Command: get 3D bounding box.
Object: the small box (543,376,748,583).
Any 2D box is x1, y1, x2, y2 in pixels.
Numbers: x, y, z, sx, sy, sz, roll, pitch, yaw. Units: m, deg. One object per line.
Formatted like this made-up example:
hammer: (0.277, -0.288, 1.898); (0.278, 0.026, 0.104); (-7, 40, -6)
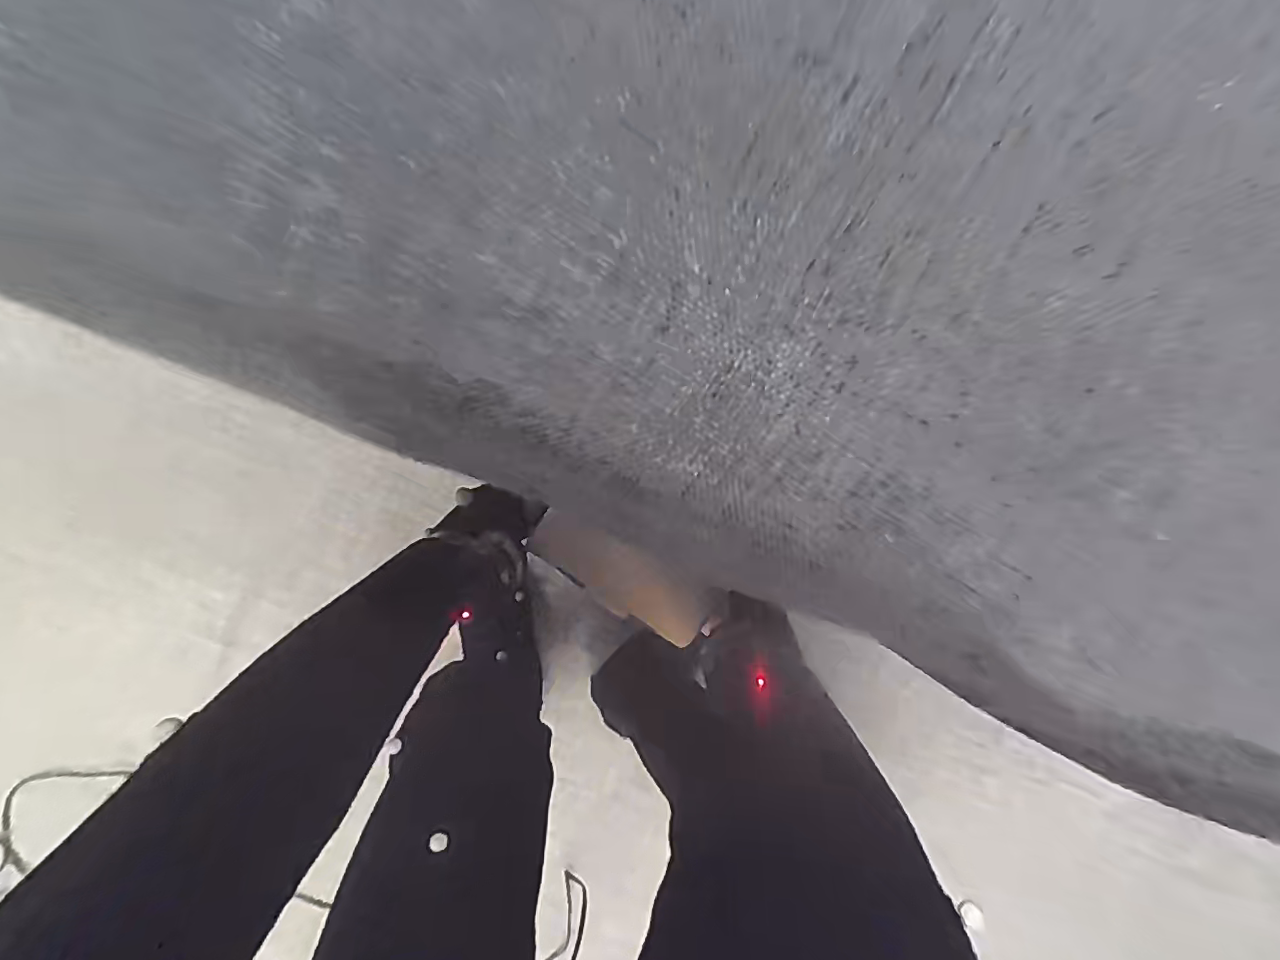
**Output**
small box: (0.001, -0.008, 0.671); (0.168, 0.176, 0.179); (33, 93, -10)
